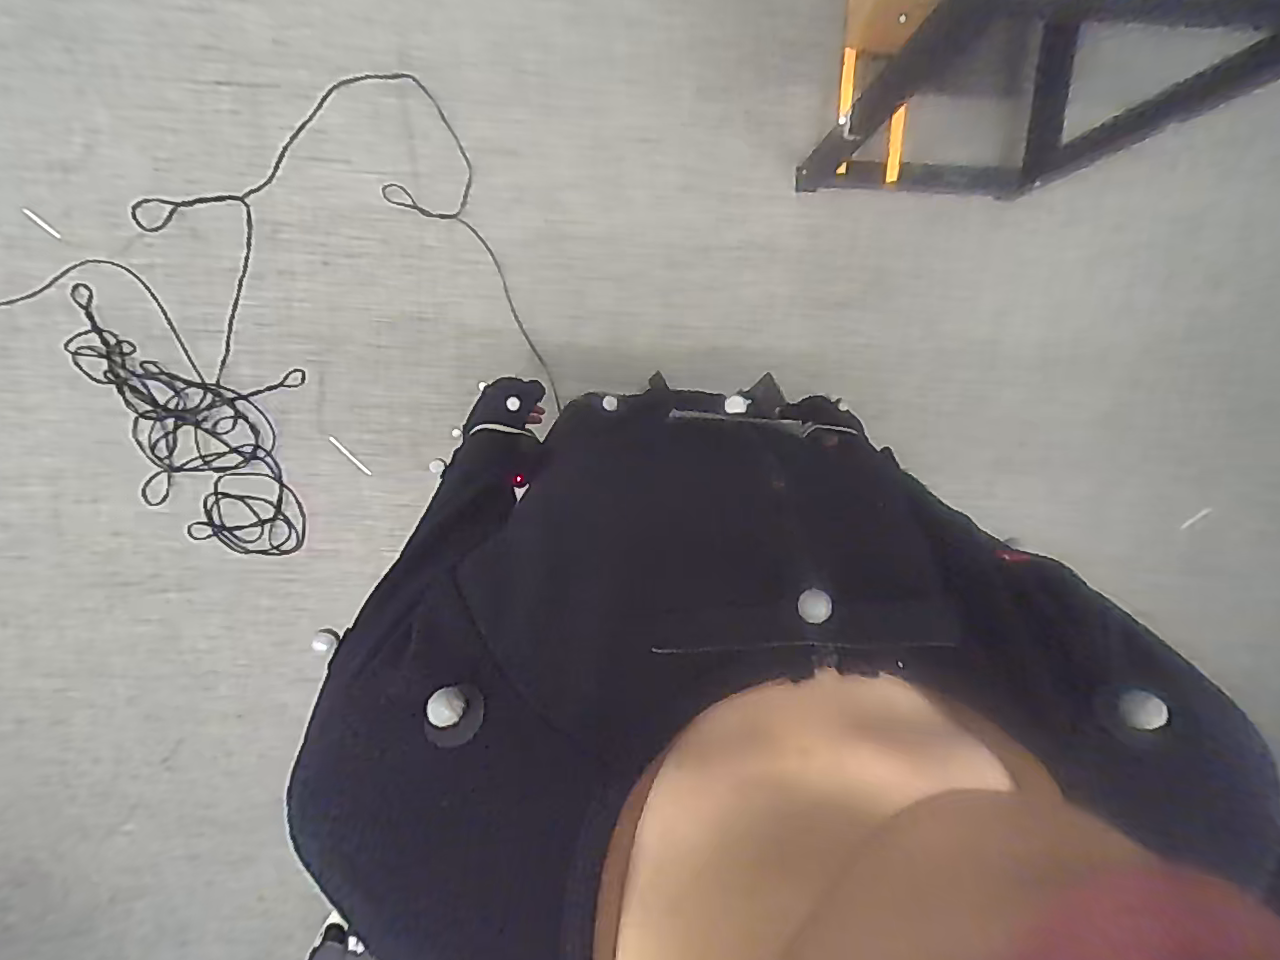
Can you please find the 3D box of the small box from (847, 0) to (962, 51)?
[{"bbox_3d":[0.554,-1.037,1.125,0.179,0.176,0.168,5,100,-3],"label":"small box"}]
